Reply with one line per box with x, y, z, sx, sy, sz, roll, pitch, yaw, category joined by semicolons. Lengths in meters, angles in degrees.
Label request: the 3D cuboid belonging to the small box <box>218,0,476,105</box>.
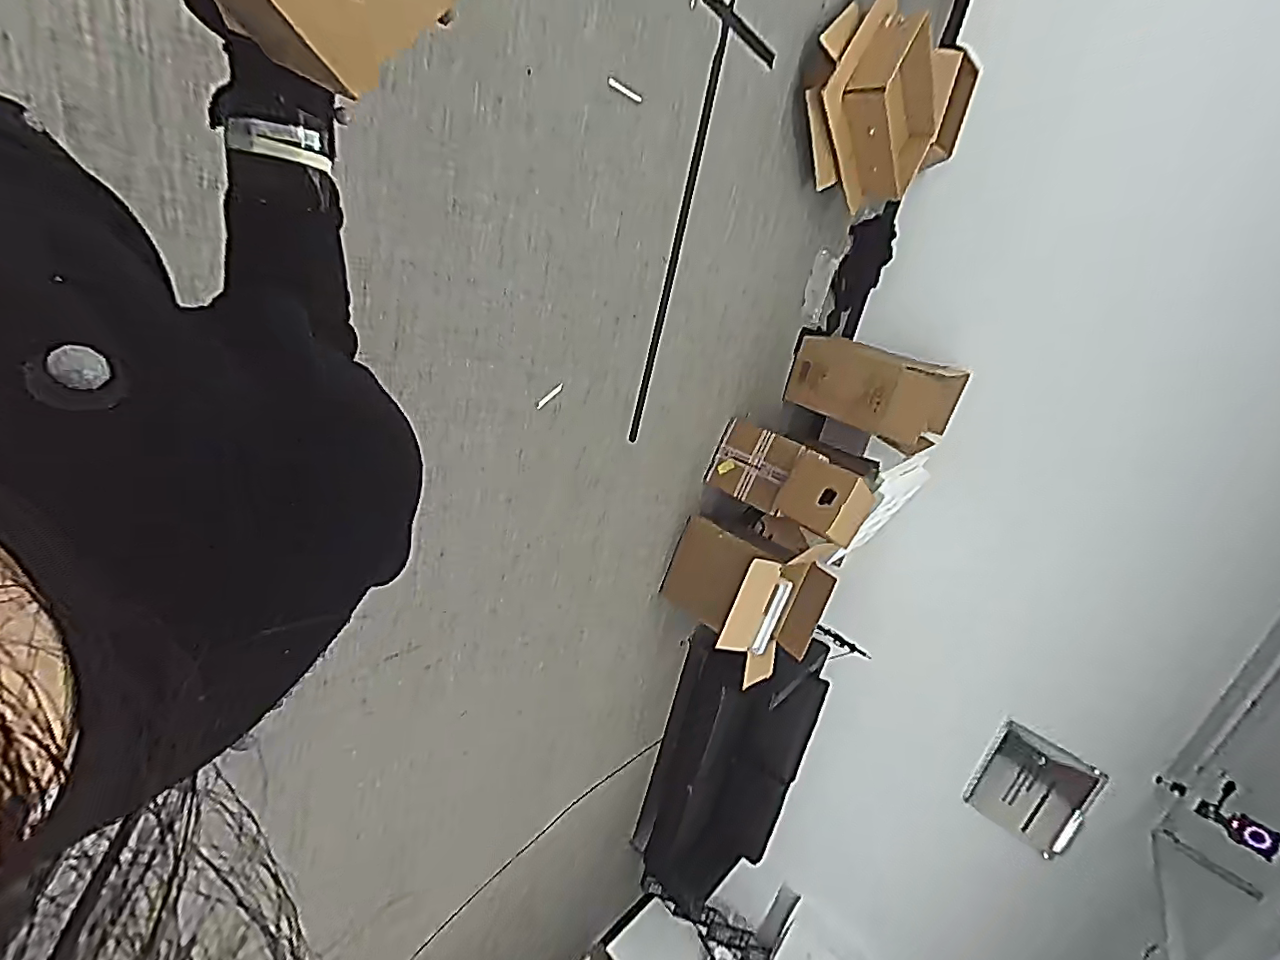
-0.162;-0.323;0.251;0.179;0.176;0.168;-48;147;-2;small box
